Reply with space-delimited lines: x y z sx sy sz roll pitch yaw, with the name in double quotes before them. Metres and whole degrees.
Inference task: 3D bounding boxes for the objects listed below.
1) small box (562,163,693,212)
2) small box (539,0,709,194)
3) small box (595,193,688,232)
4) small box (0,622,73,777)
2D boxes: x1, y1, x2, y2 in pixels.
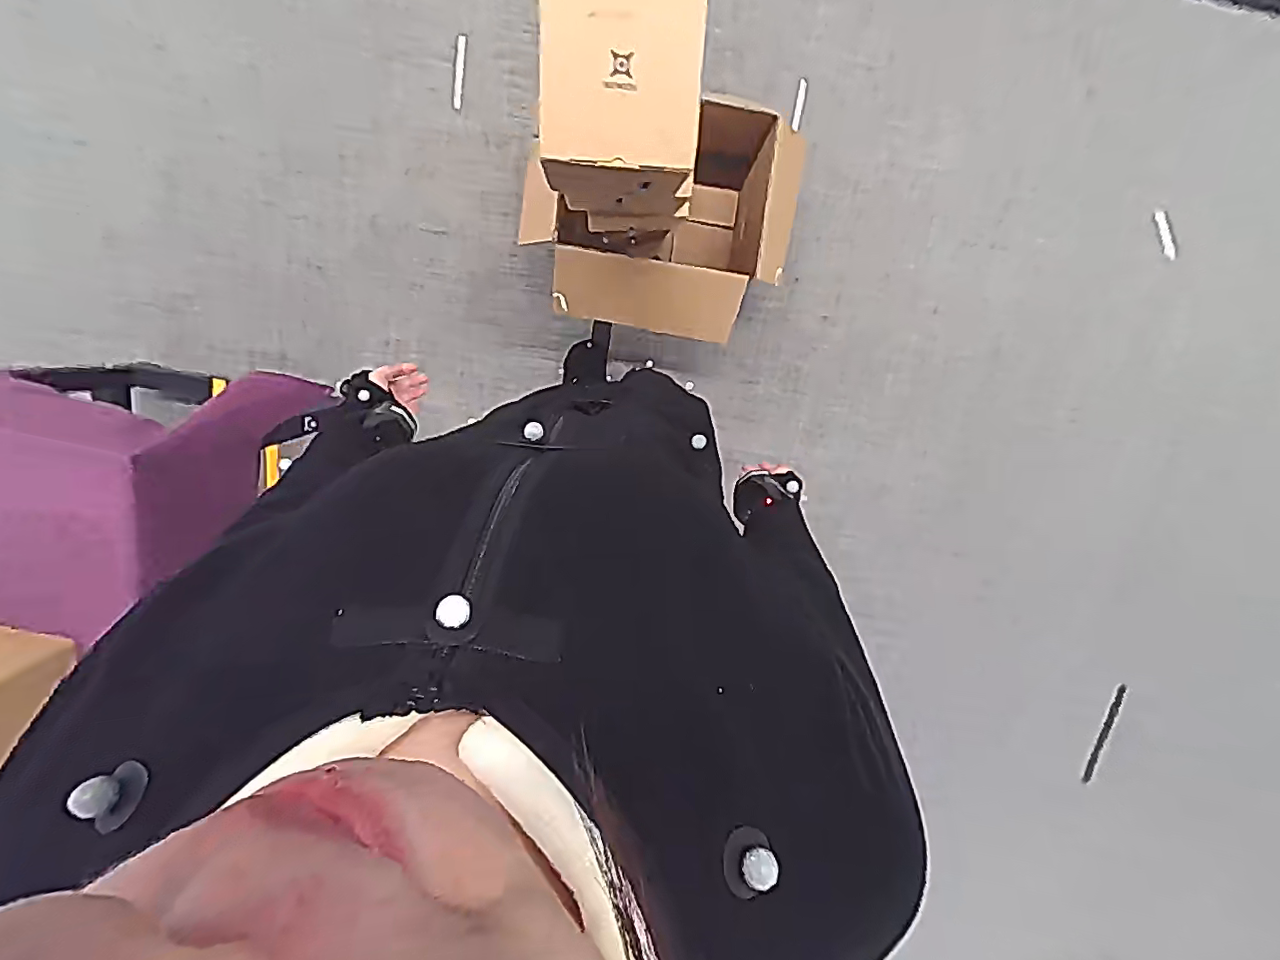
"small box" -0.019 -0.490 0.775 0.179 0.176 0.168 1 109 -5
"small box" -0.024 -0.440 0.618 0.168 0.176 0.179 2 108 -6
"small box" -0.012 -0.609 1.083 0.179 0.176 0.168 -12 108 -2
"small box" -0.929 0.305 0.729 0.179 0.176 0.168 13 104 -4
